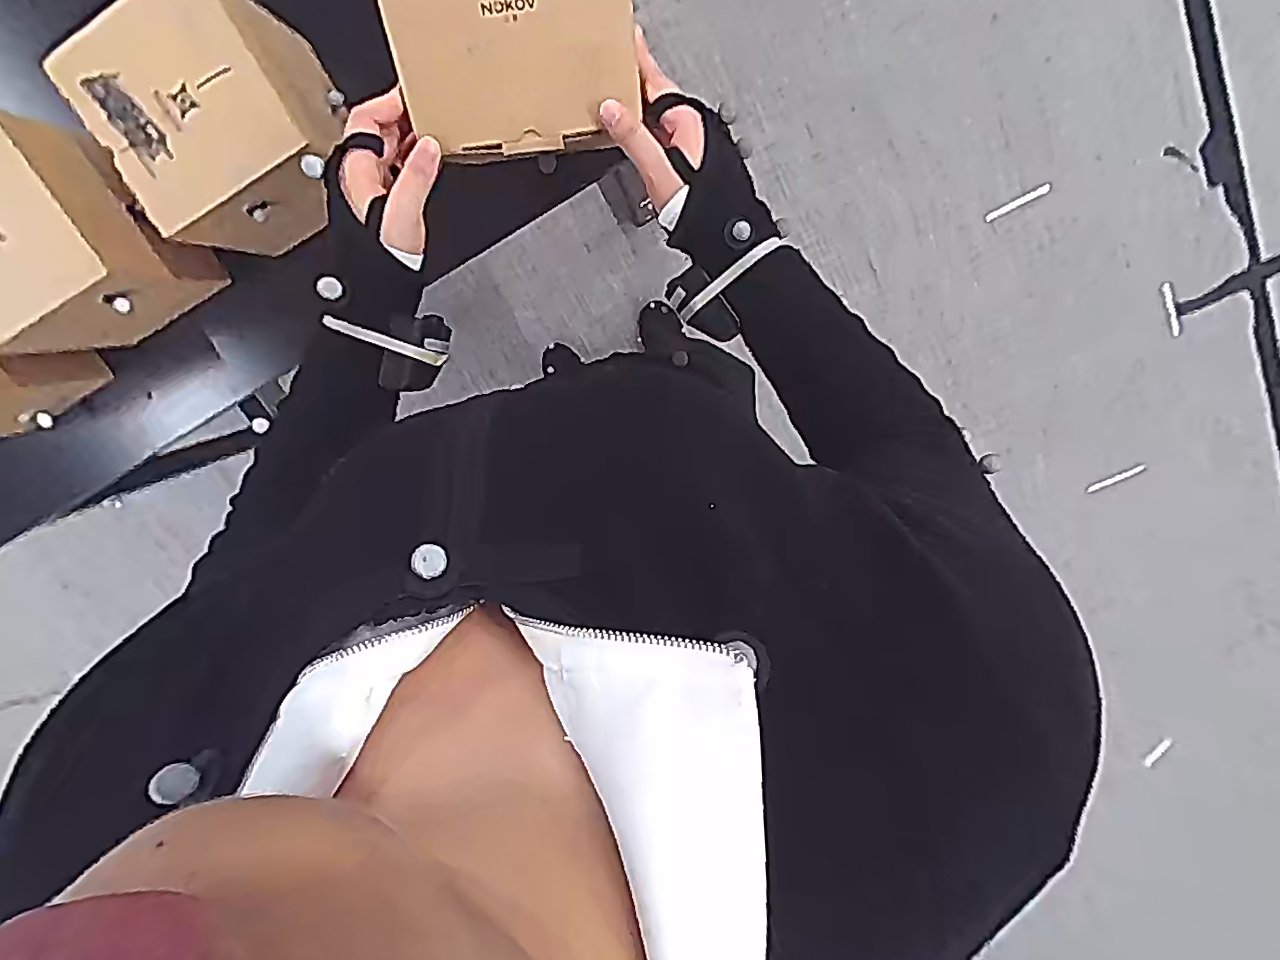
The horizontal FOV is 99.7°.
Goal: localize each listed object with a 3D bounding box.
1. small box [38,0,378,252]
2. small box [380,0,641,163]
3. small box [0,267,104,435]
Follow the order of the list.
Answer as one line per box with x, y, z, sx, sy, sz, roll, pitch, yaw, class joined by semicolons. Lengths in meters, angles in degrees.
-0.416;-0.357;0.558;0.179;0.176;0.168;-26;105;8;small box
-0.087;-0.353;0.414;0.168;0.176;0.179;-6;120;1;small box
-0.819;-0.147;0.635;0.168;0.176;0.179;-27;106;11;small box
